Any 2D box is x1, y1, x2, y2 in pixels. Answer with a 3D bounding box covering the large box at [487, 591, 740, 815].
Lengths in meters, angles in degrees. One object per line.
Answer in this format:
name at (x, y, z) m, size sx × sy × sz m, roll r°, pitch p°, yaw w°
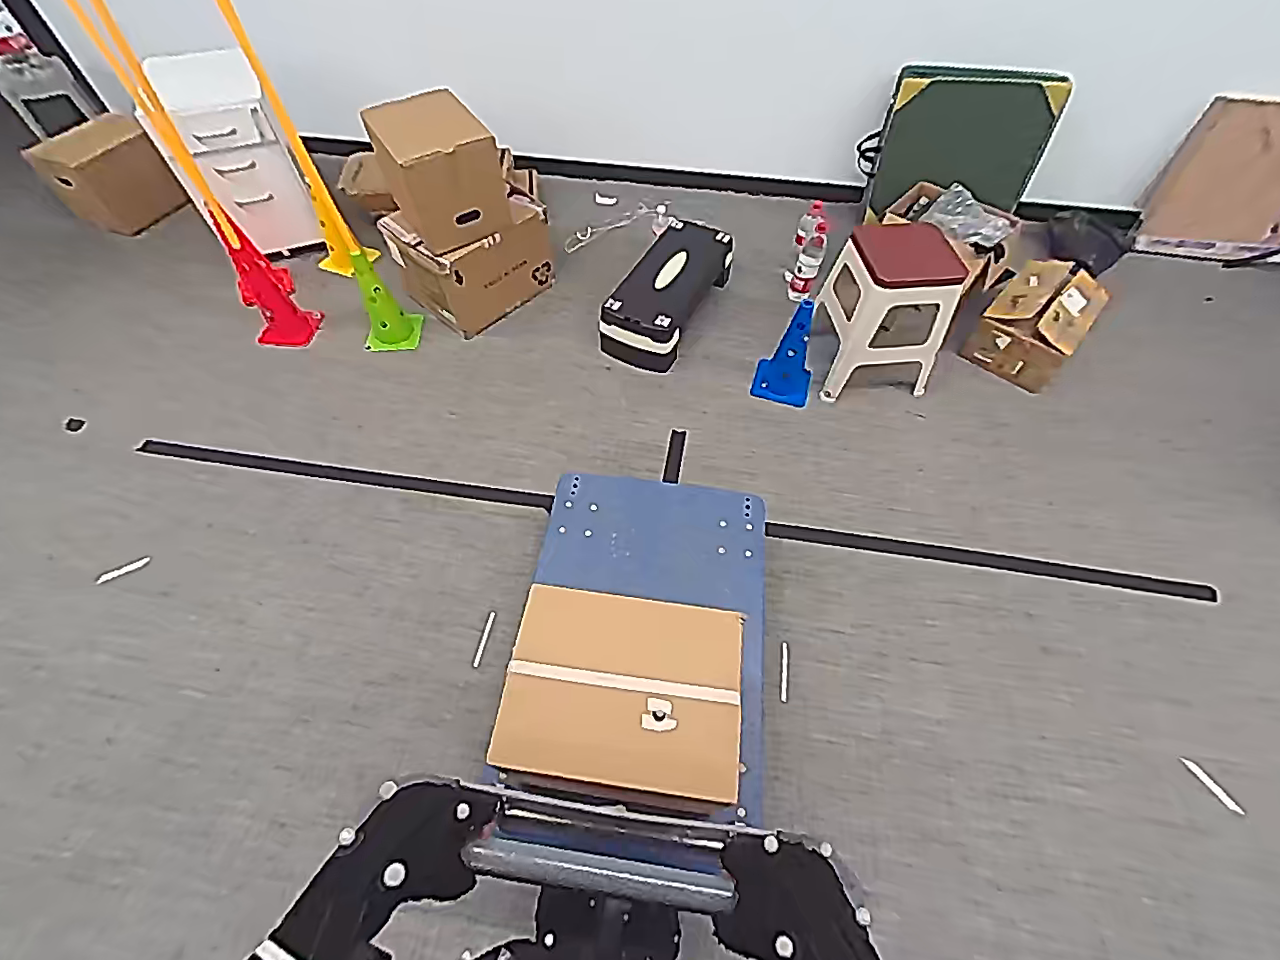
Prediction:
large box at (-0.037, 0.440, 1.051) m, size 0.408 × 0.320 × 0.320 m, roll 8°, pitch 57°, yaw 2°
